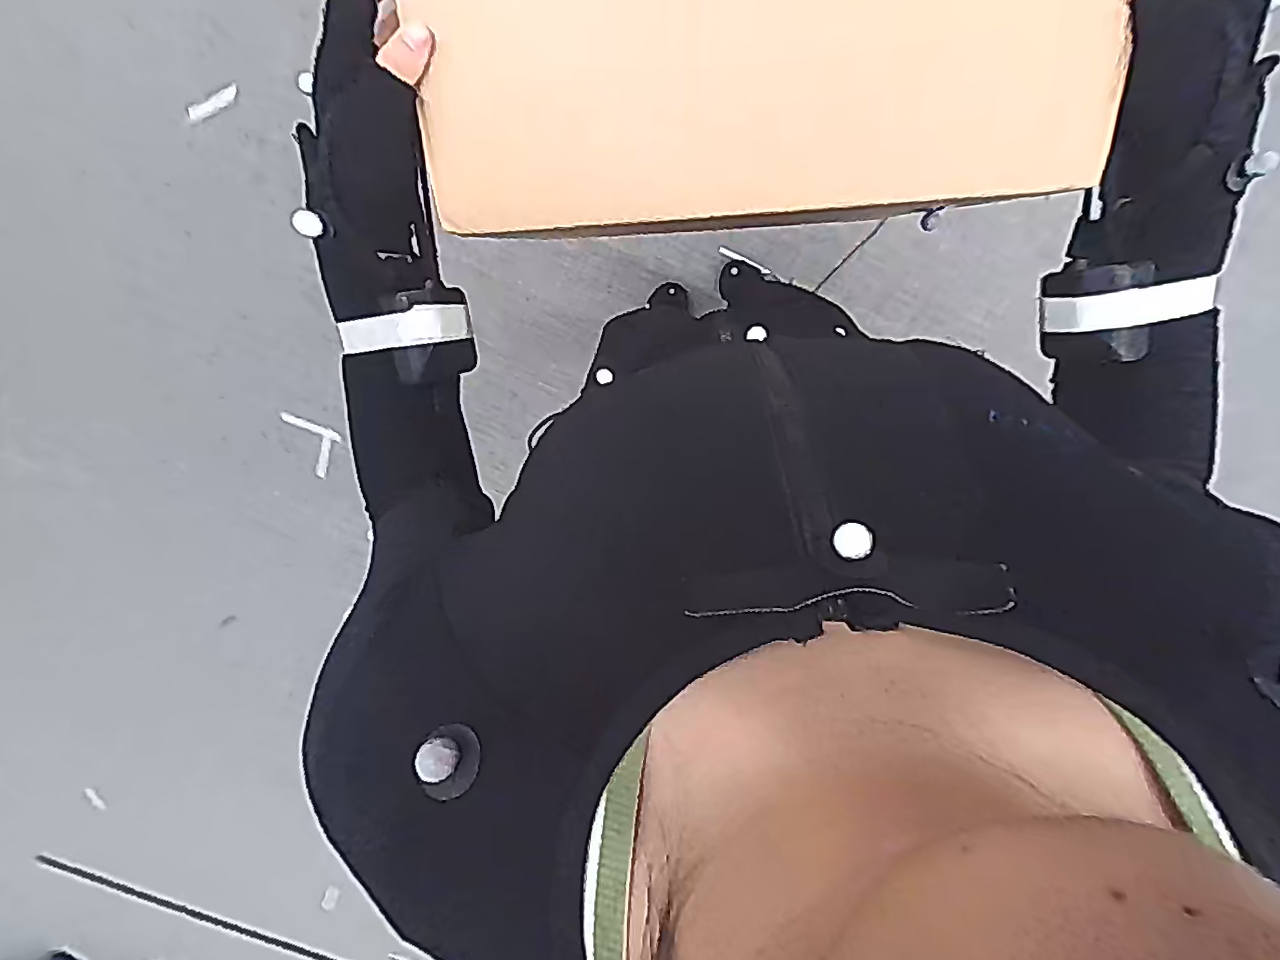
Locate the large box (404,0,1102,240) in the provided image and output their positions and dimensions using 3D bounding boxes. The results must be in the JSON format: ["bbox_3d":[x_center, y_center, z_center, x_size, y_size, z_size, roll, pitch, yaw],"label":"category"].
[{"bbox_3d":[0.062,-0.375,0.423,0.408,0.320,0.320,-4,113,2],"label":"large box"}]
